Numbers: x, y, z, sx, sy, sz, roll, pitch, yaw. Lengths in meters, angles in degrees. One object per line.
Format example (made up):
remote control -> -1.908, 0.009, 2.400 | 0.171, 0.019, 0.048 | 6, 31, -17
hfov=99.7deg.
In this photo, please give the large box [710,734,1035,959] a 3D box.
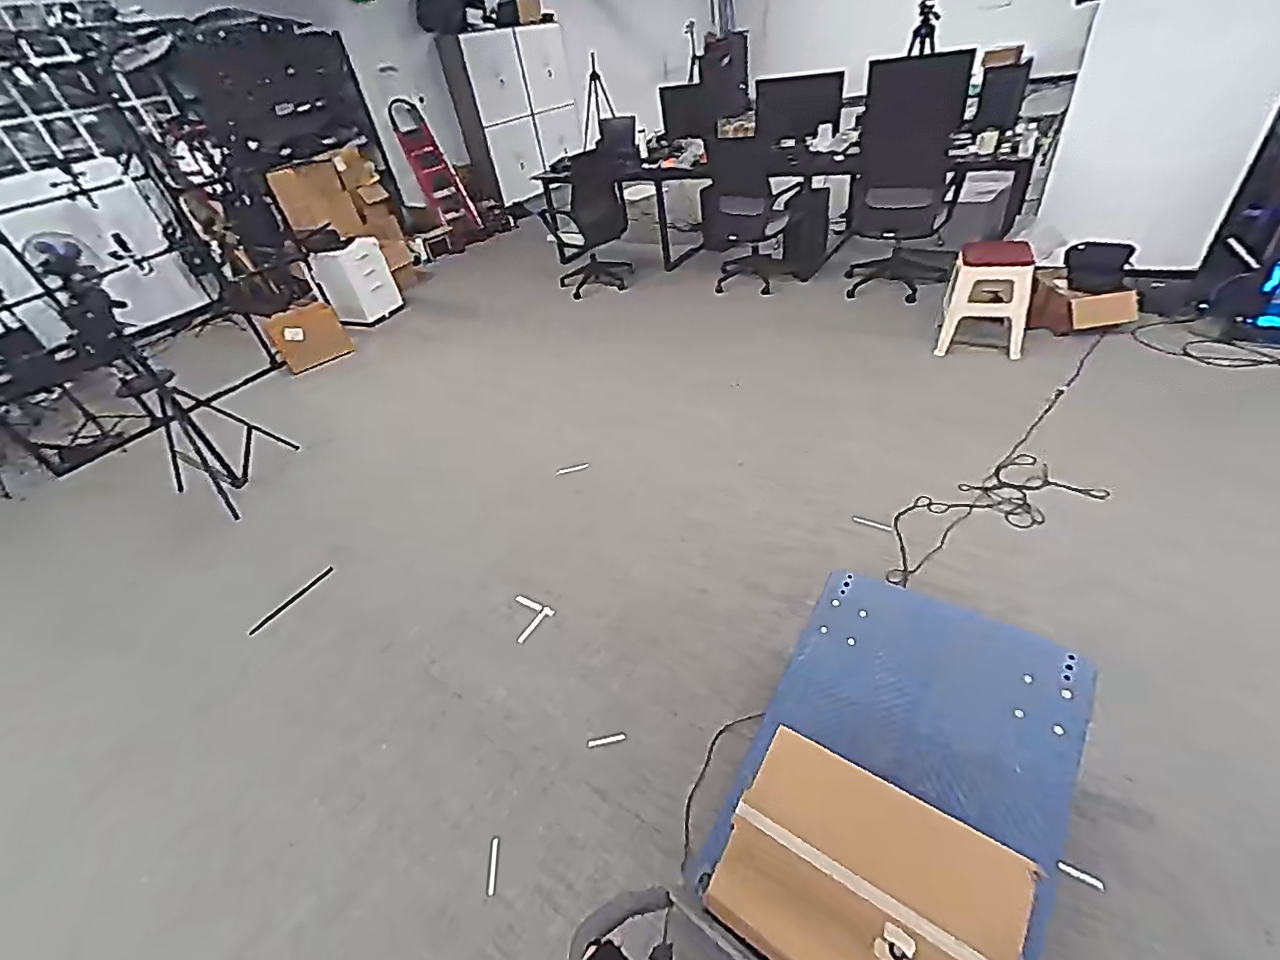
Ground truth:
large box -> 0.388, 0.720, 0.949 | 0.408, 0.320, 0.320 | 18, 63, 31
